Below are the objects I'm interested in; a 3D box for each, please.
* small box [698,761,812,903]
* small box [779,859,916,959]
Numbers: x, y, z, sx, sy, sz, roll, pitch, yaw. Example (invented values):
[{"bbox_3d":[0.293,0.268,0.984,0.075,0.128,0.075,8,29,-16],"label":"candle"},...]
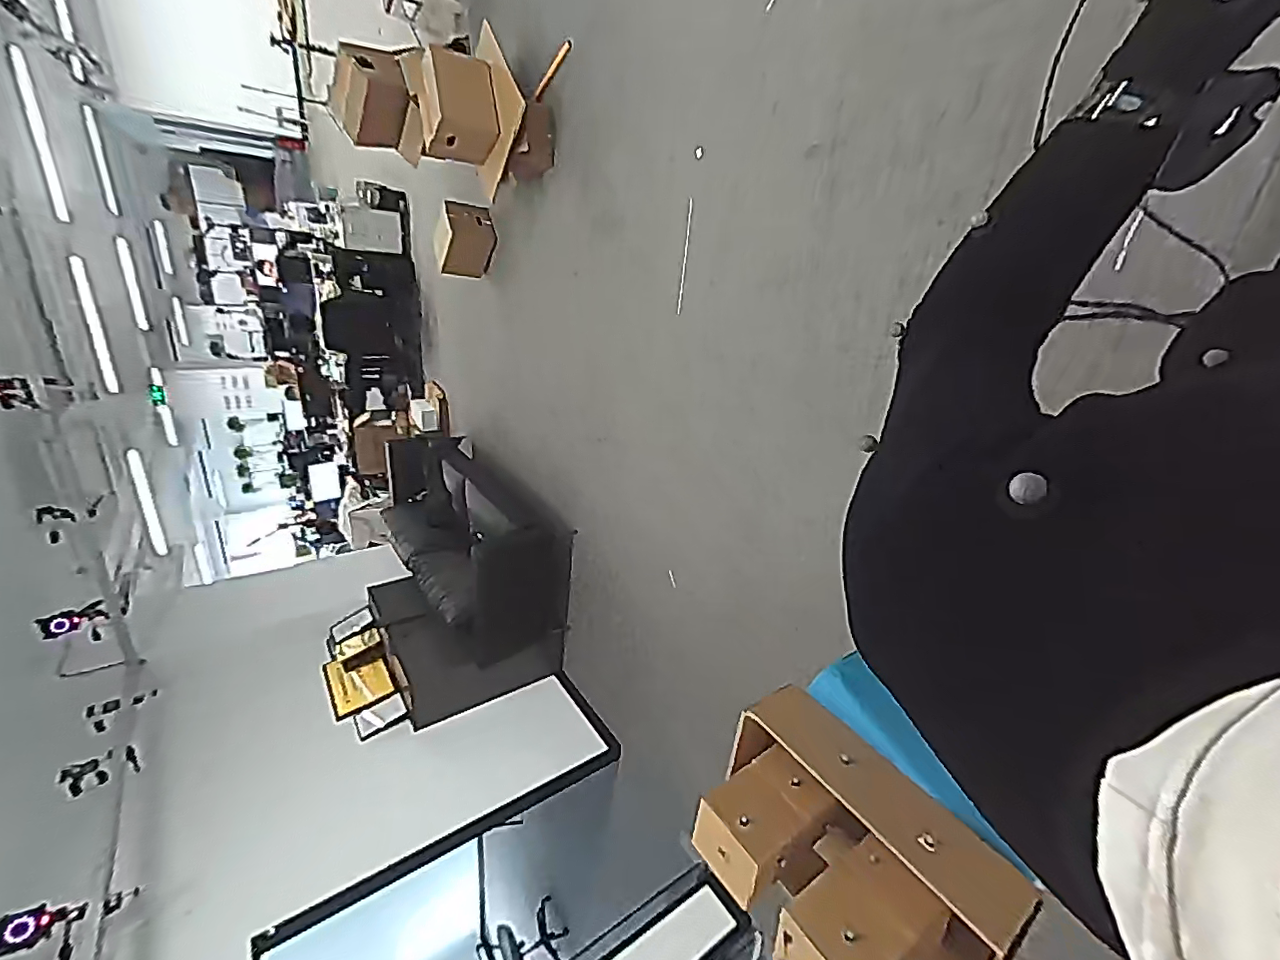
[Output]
[{"bbox_3d":[0.260,0.784,1.223,0.179,0.176,0.168,35,128,44],"label":"small box"},{"bbox_3d":[0.402,0.899,1.054,0.179,0.176,0.168,29,124,49],"label":"small box"}]
